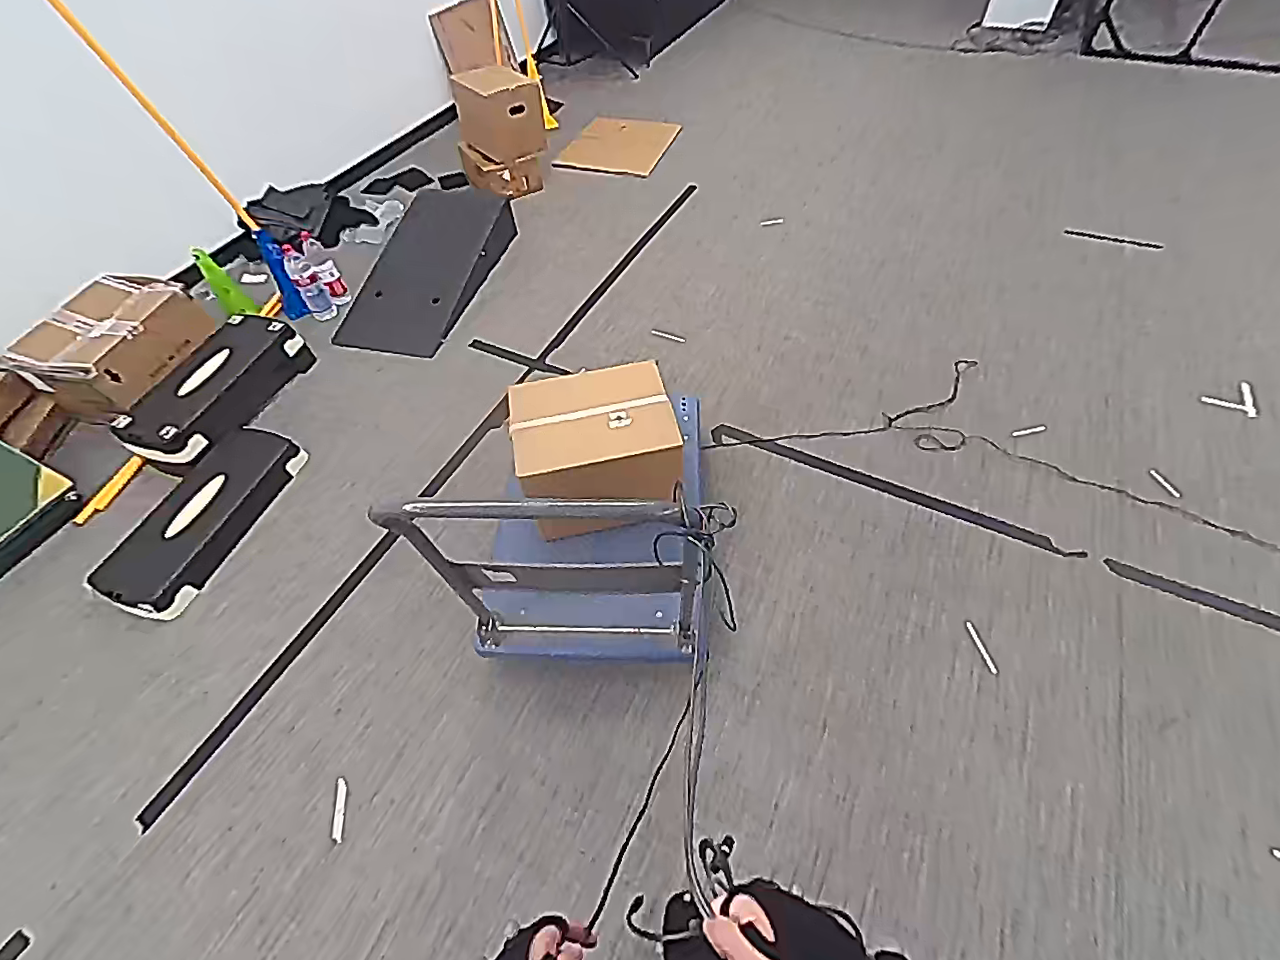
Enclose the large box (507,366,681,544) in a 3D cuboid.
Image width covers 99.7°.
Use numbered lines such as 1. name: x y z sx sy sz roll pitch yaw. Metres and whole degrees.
1. large box: -0.120 -0.064 1.477 0.408 0.320 0.320 -11 55 -5
